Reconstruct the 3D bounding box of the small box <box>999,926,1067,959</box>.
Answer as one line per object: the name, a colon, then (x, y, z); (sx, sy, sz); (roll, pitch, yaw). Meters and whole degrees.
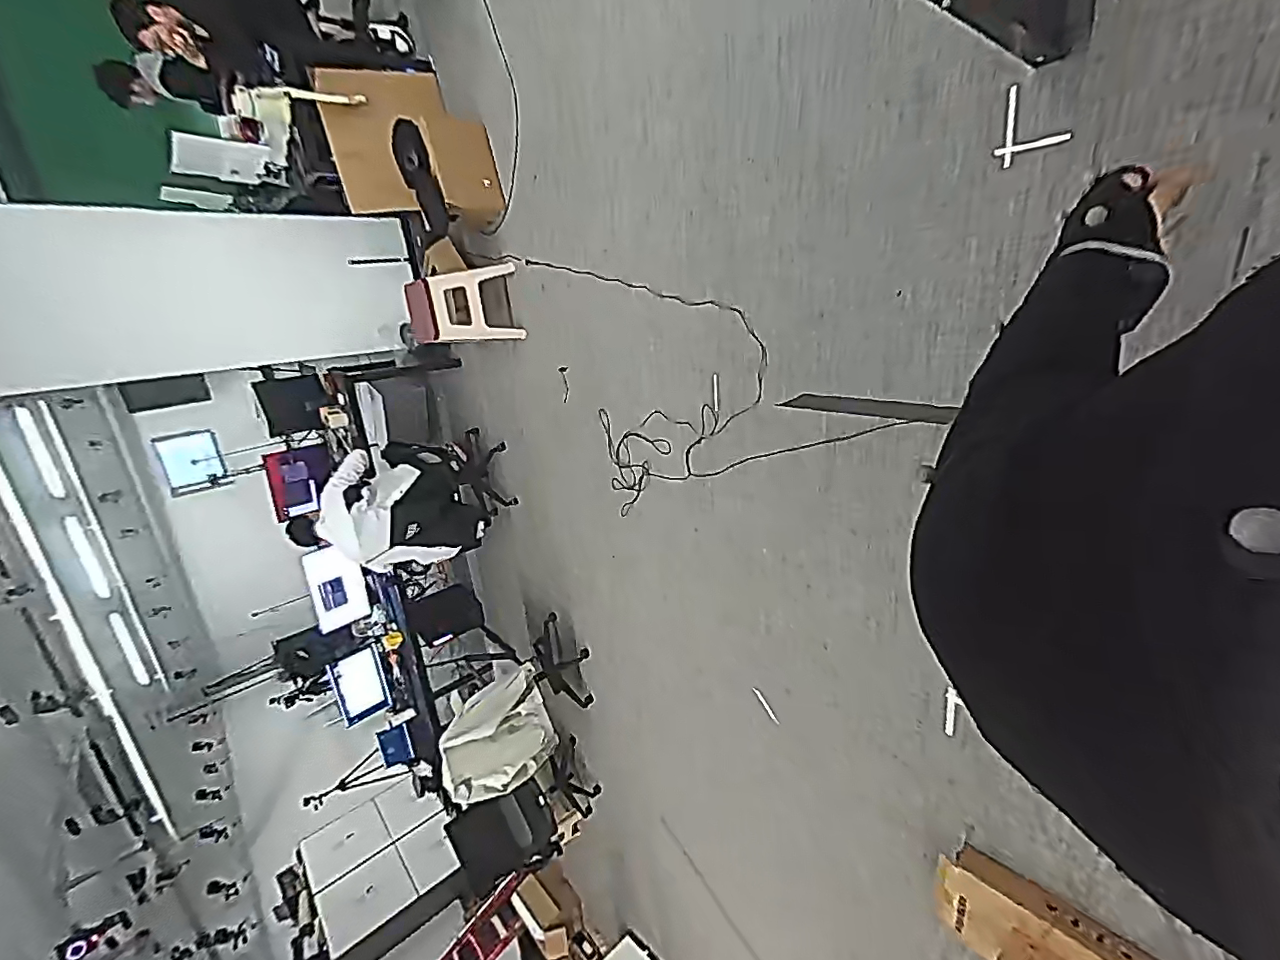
small box: (1.098, 1.408, 1.499); (0.168, 0.176, 0.179); (13, 116, 48)
